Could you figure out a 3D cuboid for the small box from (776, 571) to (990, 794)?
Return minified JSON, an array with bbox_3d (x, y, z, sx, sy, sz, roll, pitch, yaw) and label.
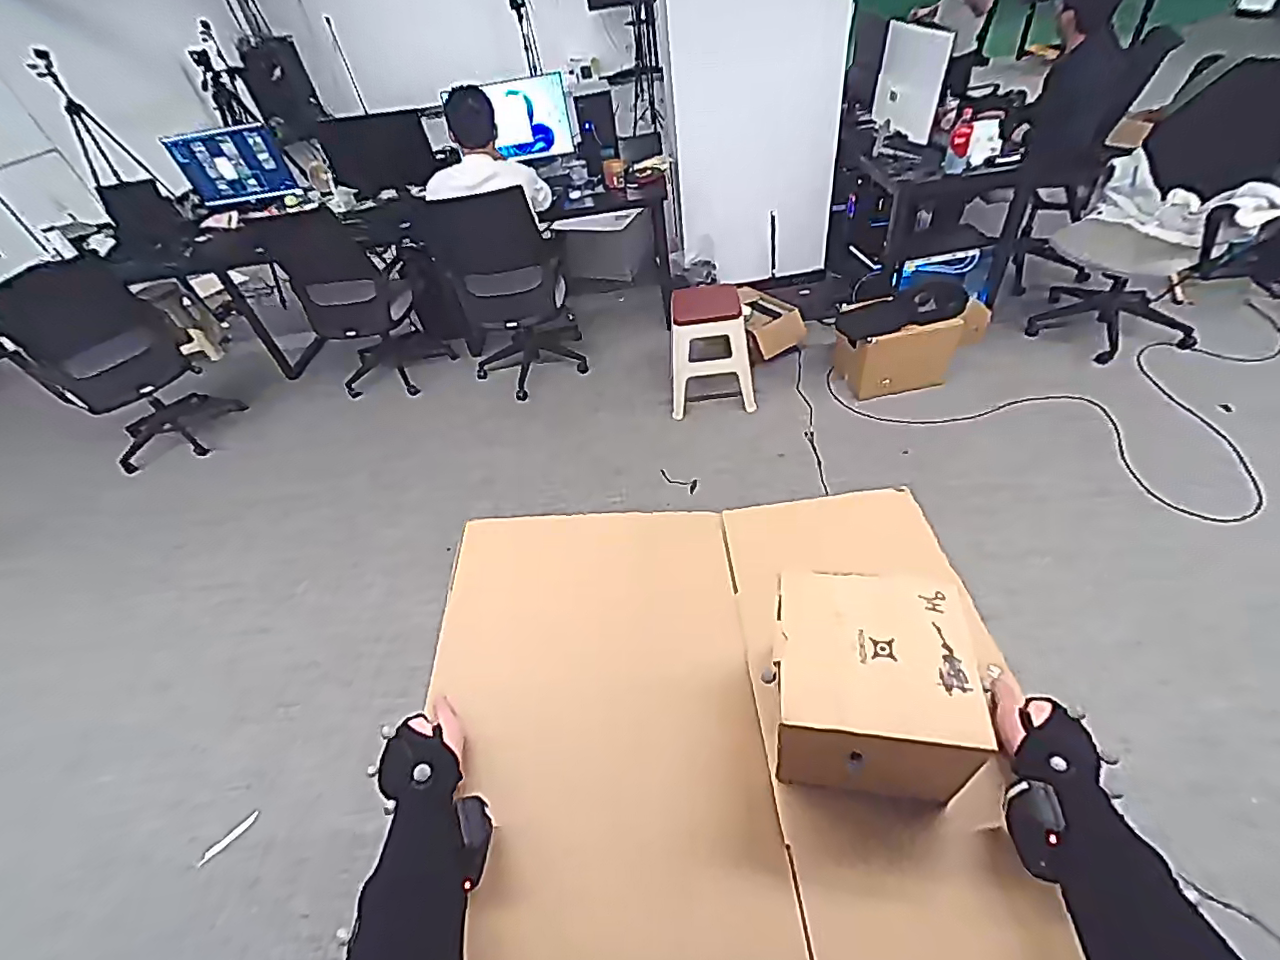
[{"bbox_3d":[0.239,0.215,0.579,0.179,0.176,0.168,1,47,15],"label":"small box"}]
